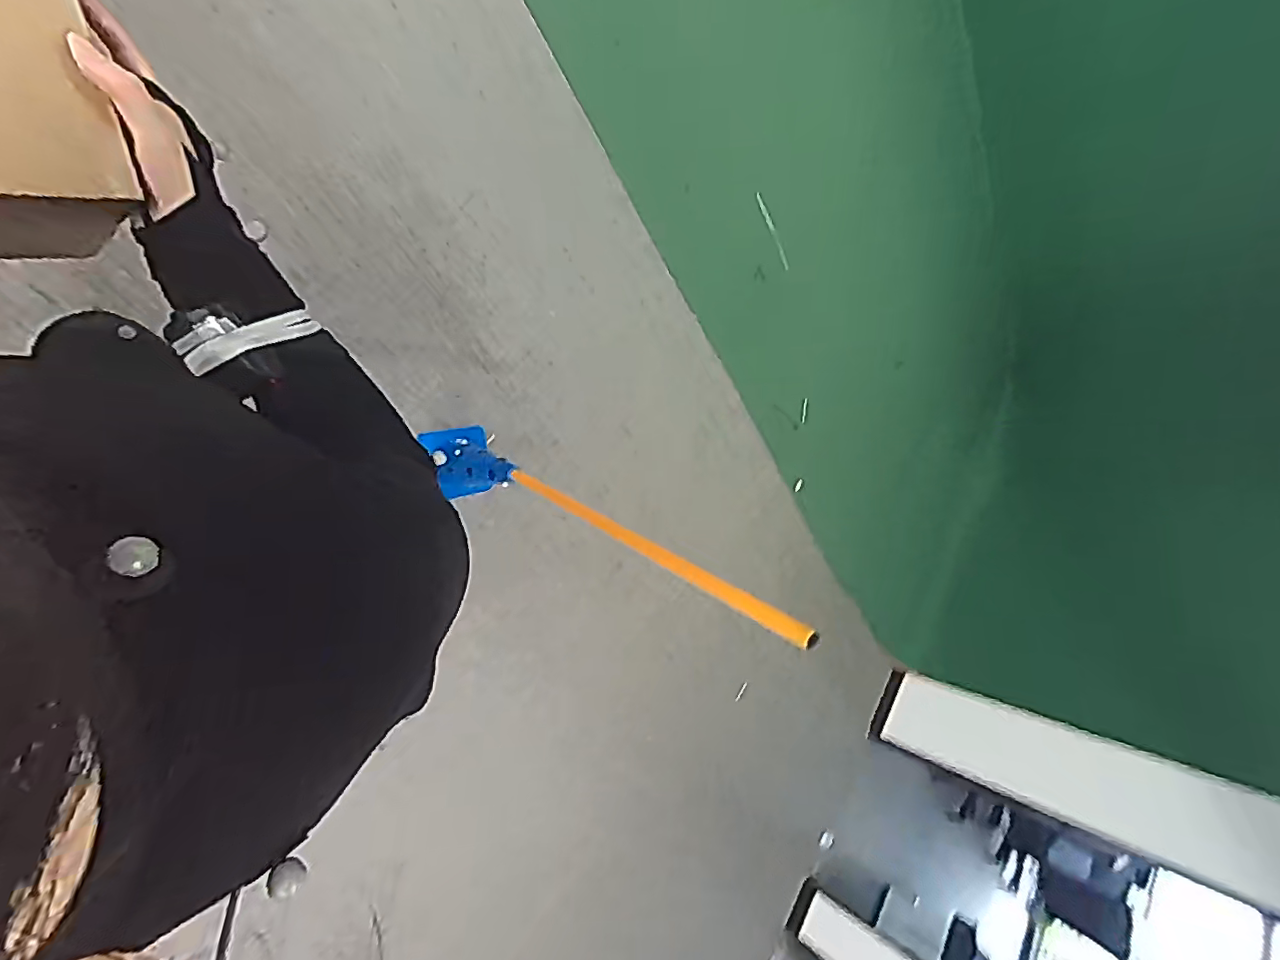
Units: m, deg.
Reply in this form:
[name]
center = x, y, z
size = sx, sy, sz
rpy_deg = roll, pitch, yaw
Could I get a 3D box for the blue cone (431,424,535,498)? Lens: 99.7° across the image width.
[blue cone]
center = -0.392, -0.043, 1.437
size = 0.193, 0.380, 0.192
rpy_deg = -19, 108, -39
